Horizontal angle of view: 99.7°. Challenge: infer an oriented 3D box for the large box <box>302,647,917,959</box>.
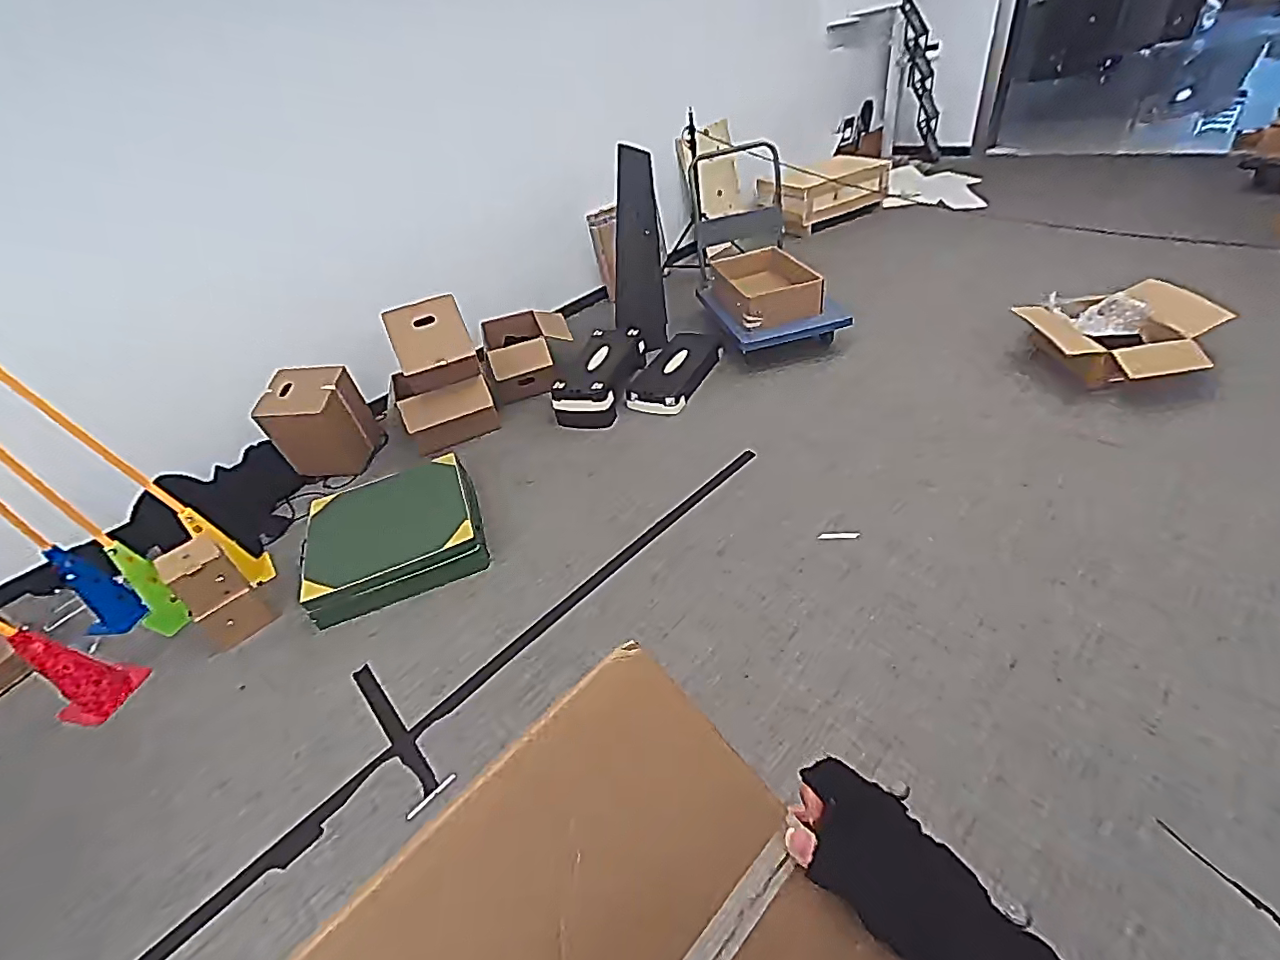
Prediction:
[{"bbox_3d":[-0.070,0.399,0.399,0.408,0.320,0.320,-39,79,-25],"label":"large box"}]
